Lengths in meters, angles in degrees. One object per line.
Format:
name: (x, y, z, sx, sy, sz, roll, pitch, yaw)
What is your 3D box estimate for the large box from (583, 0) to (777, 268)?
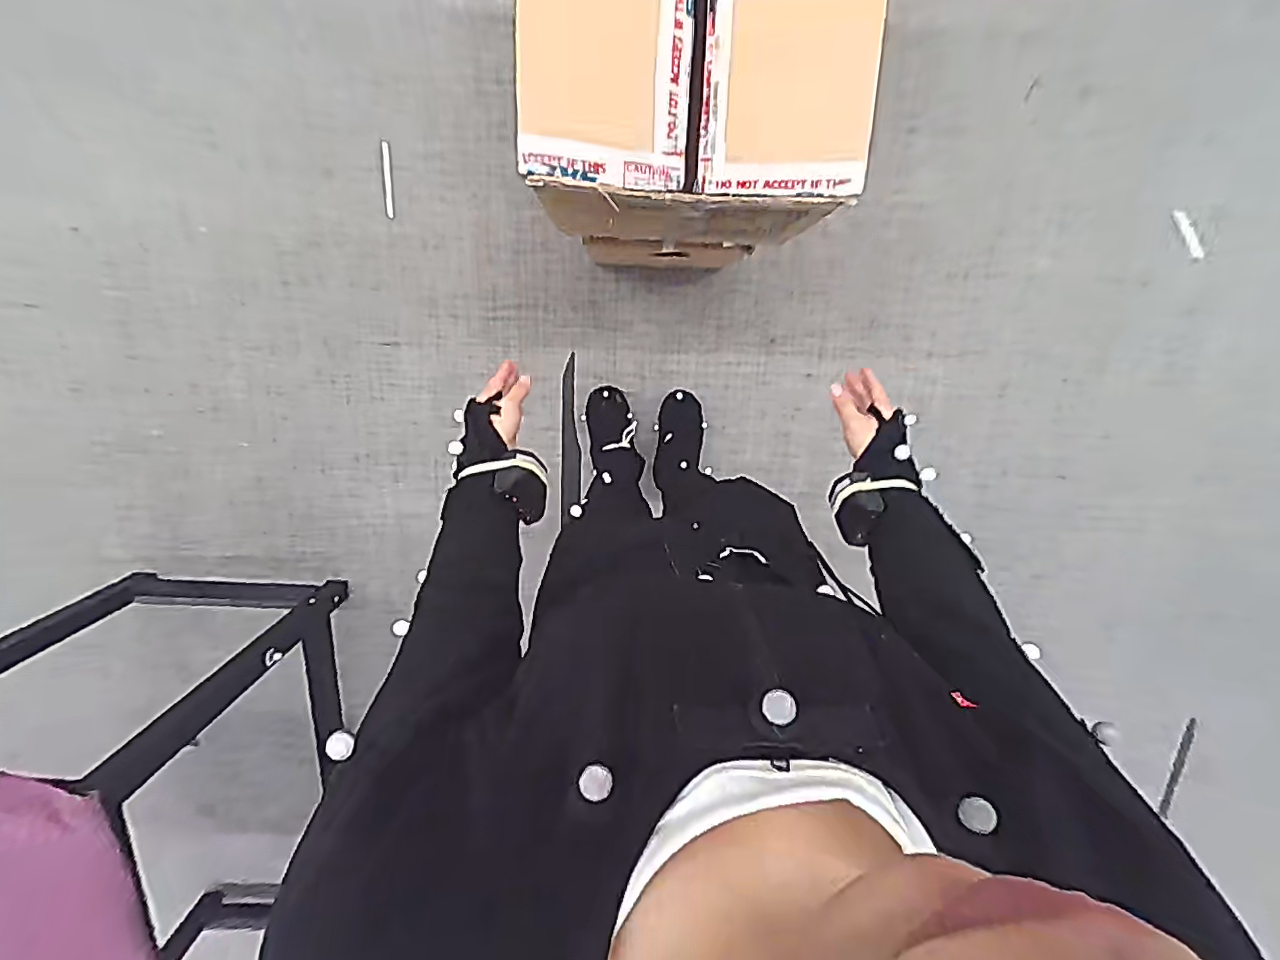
large box: (0.061, -0.644, 1.050, 0.320, 0.320, 0.408, 1, 106, 0)
